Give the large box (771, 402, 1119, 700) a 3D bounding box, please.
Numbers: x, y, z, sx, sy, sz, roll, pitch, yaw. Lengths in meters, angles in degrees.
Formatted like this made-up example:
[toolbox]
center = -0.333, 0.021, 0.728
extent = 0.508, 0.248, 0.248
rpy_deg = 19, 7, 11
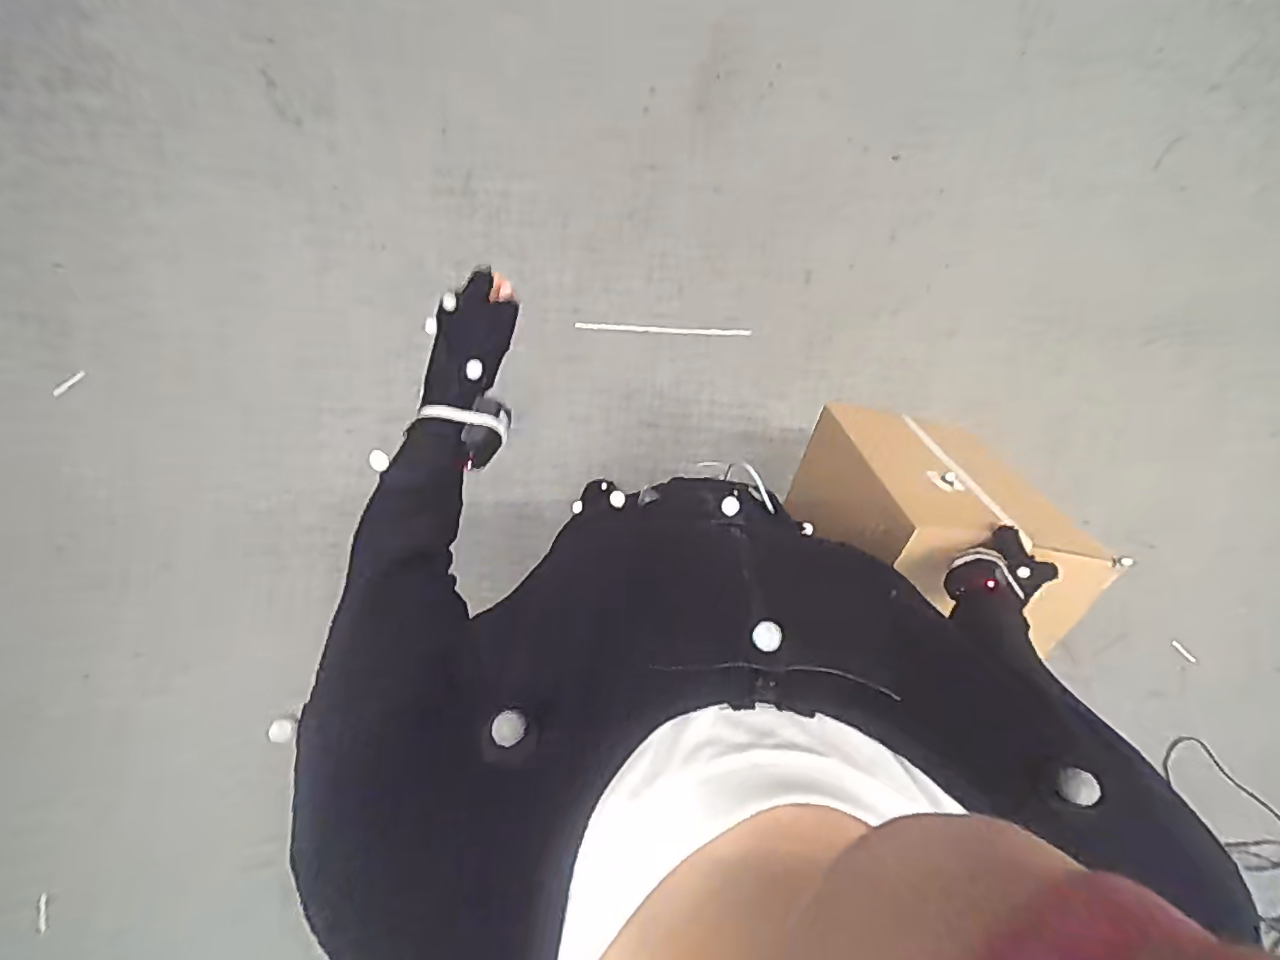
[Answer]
[large box]
center = 0.467, 0.107, 0.955
extent = 0.320, 0.408, 0.320
rpy_deg = 9, 122, -7
